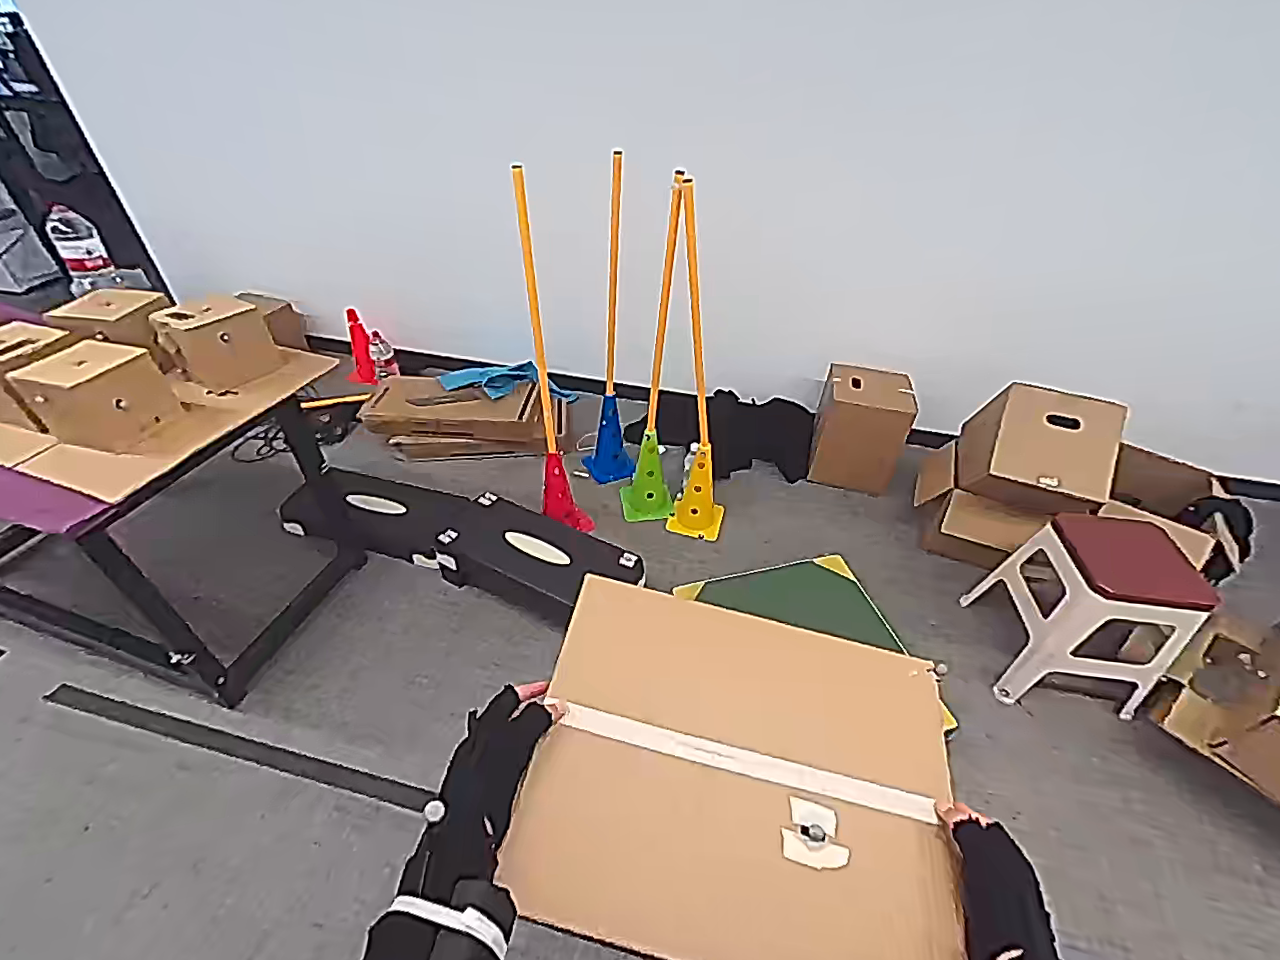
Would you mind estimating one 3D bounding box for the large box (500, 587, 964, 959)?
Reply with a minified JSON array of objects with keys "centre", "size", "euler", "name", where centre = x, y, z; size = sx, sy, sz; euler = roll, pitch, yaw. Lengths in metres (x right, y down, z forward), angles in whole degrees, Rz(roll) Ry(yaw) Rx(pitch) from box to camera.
[{"centre":[0.087,0.376,0.647],"size":[0.408,0.320,0.320],"euler":[14,51,4],"name":"large box"}]
